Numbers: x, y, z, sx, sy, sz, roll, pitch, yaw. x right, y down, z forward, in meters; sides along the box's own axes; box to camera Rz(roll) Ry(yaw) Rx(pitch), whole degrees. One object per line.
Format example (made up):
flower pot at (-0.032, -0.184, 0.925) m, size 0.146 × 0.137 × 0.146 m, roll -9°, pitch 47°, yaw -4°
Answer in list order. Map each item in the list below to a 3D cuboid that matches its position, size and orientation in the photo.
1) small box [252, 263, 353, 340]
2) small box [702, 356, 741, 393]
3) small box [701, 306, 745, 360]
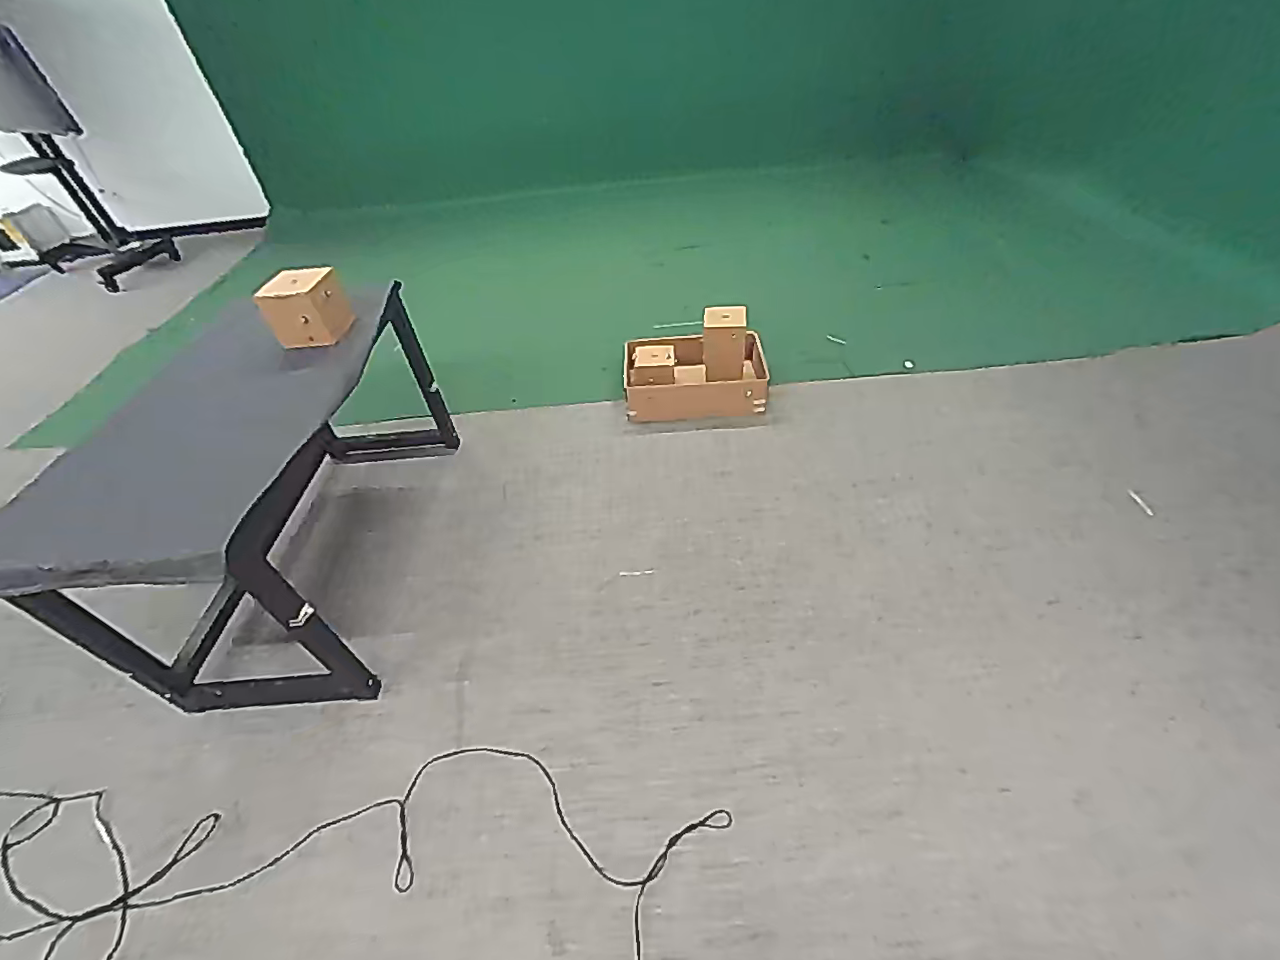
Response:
small box at (-0.997, -0.529, 1.618) m, size 0.168 × 0.176 × 0.179 m, roll -2°, pitch 44°, yaw 4°
small box at (0.368, -0.515, 2.437) m, size 0.168 × 0.176 × 0.179 m, roll 1°, pitch 47°, yaw 8°
small box at (0.356, -0.627, 2.317) m, size 0.179 × 0.176 × 0.168 m, roll 2°, pitch 46°, yaw 9°
